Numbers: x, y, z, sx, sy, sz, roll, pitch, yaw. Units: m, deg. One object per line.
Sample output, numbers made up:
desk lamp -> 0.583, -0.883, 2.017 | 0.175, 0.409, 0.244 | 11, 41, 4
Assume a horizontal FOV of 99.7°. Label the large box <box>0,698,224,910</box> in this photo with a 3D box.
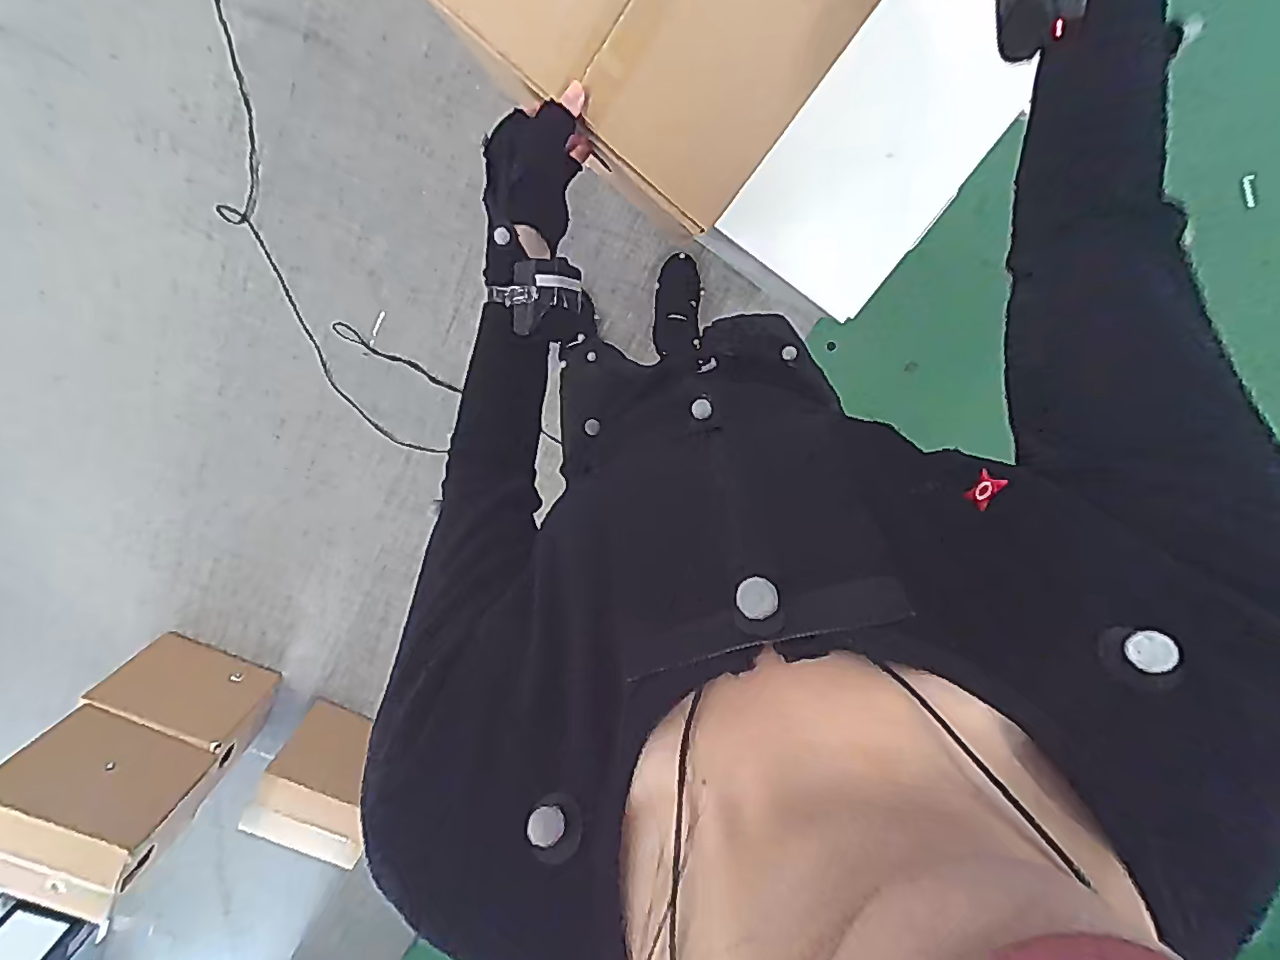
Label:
large box -> -1.511, 0.893, 1.518 | 0.408, 0.320, 0.320 | 28, 107, -10
